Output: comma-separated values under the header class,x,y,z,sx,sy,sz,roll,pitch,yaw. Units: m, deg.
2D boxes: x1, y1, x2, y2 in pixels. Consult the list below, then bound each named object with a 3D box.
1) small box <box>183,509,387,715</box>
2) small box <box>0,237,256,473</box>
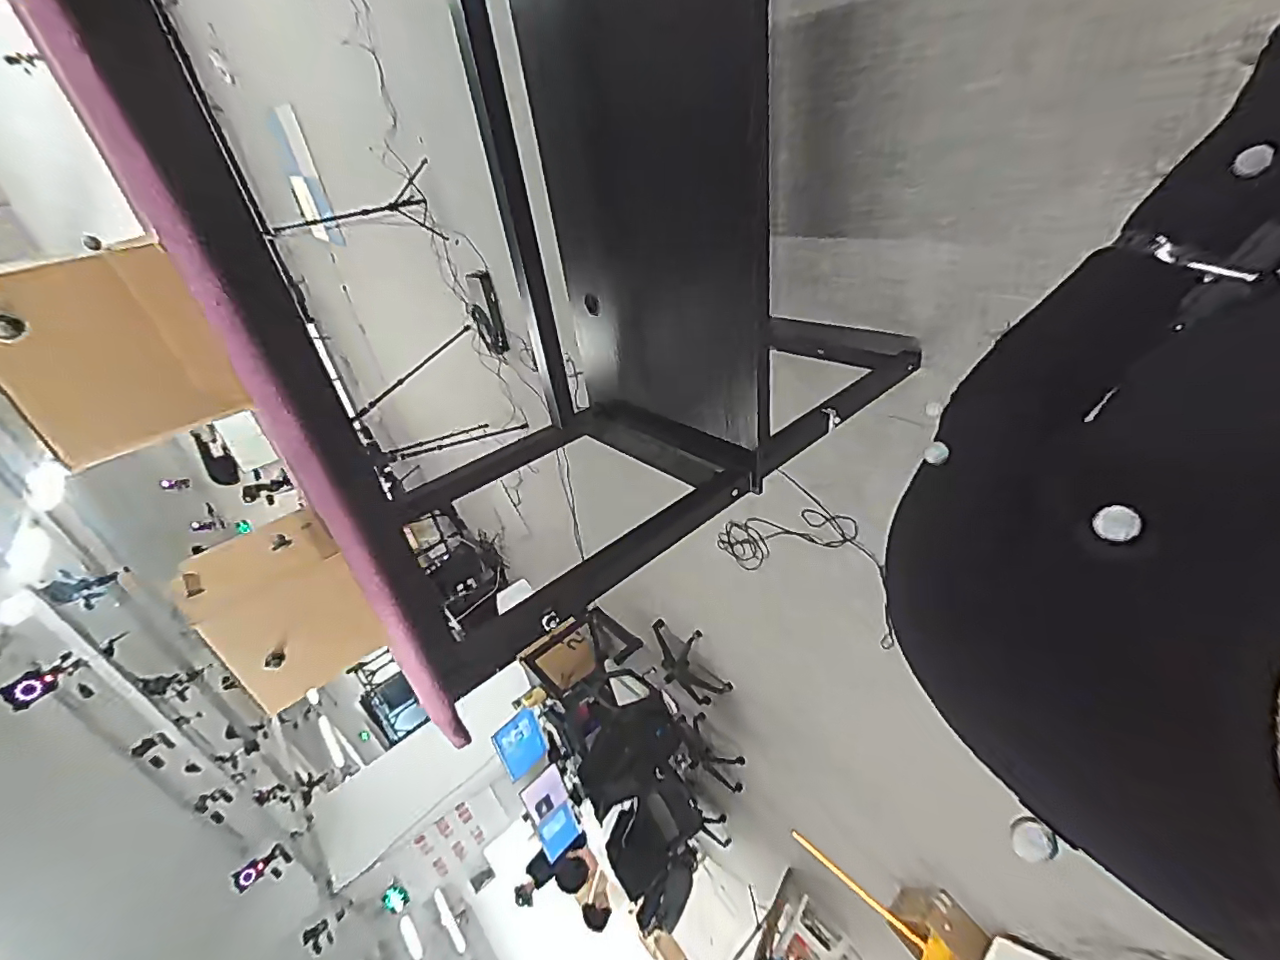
class,x,y,z,sx,sy,sz,roll,pitch,yaw
small box,-0.477,0.171,0.743,0.168,0.176,0.179,26,136,43
small box,-0.538,-0.139,0.564,0.168,0.176,0.179,29,138,44
